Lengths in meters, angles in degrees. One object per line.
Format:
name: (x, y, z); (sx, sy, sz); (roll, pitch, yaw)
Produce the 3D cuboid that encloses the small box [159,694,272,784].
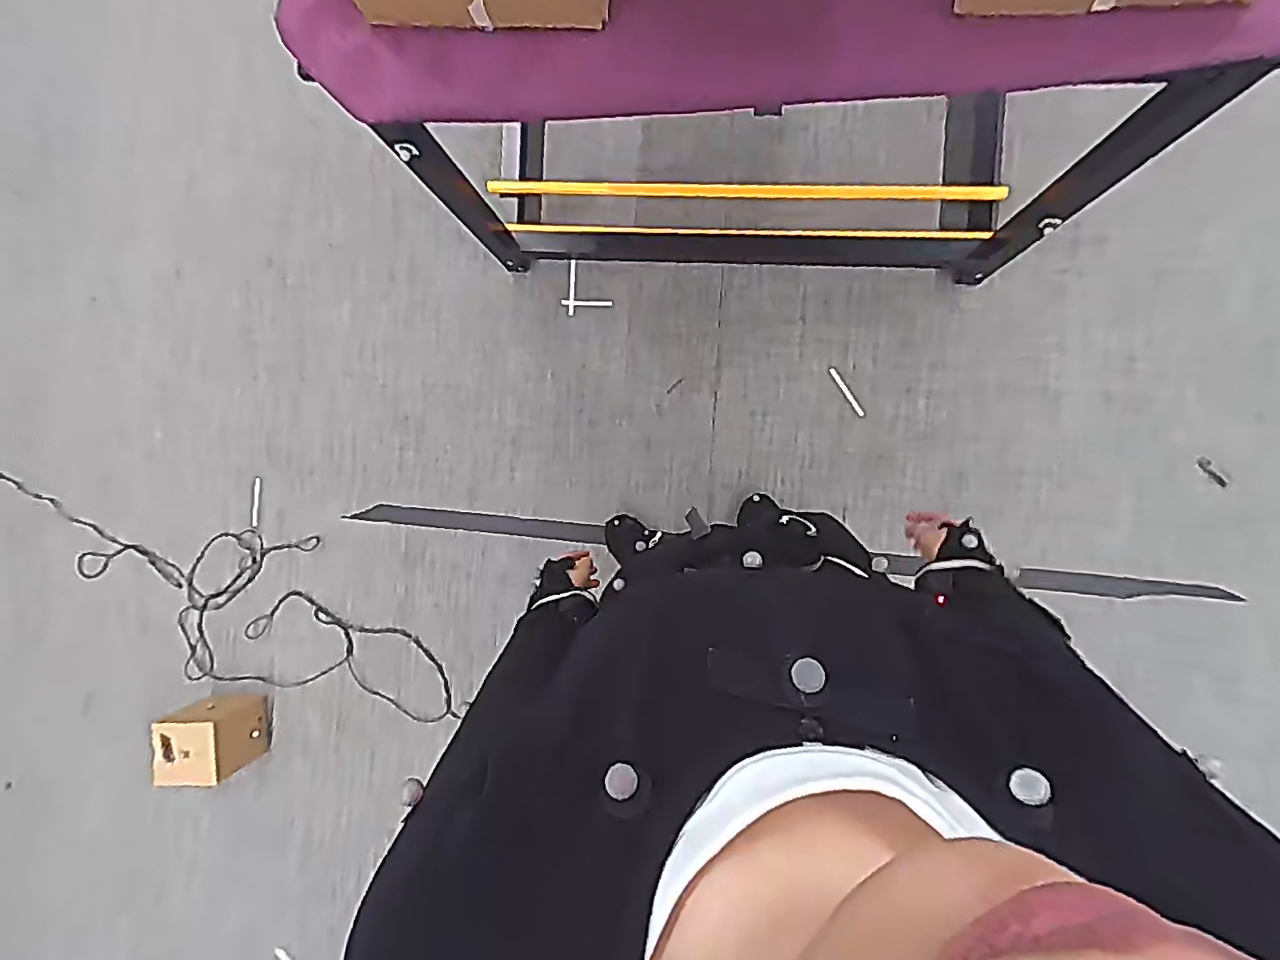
small box: (-1.143, 0.693, 1.464); (0.179, 0.176, 0.168); (-3, 91, 6)
